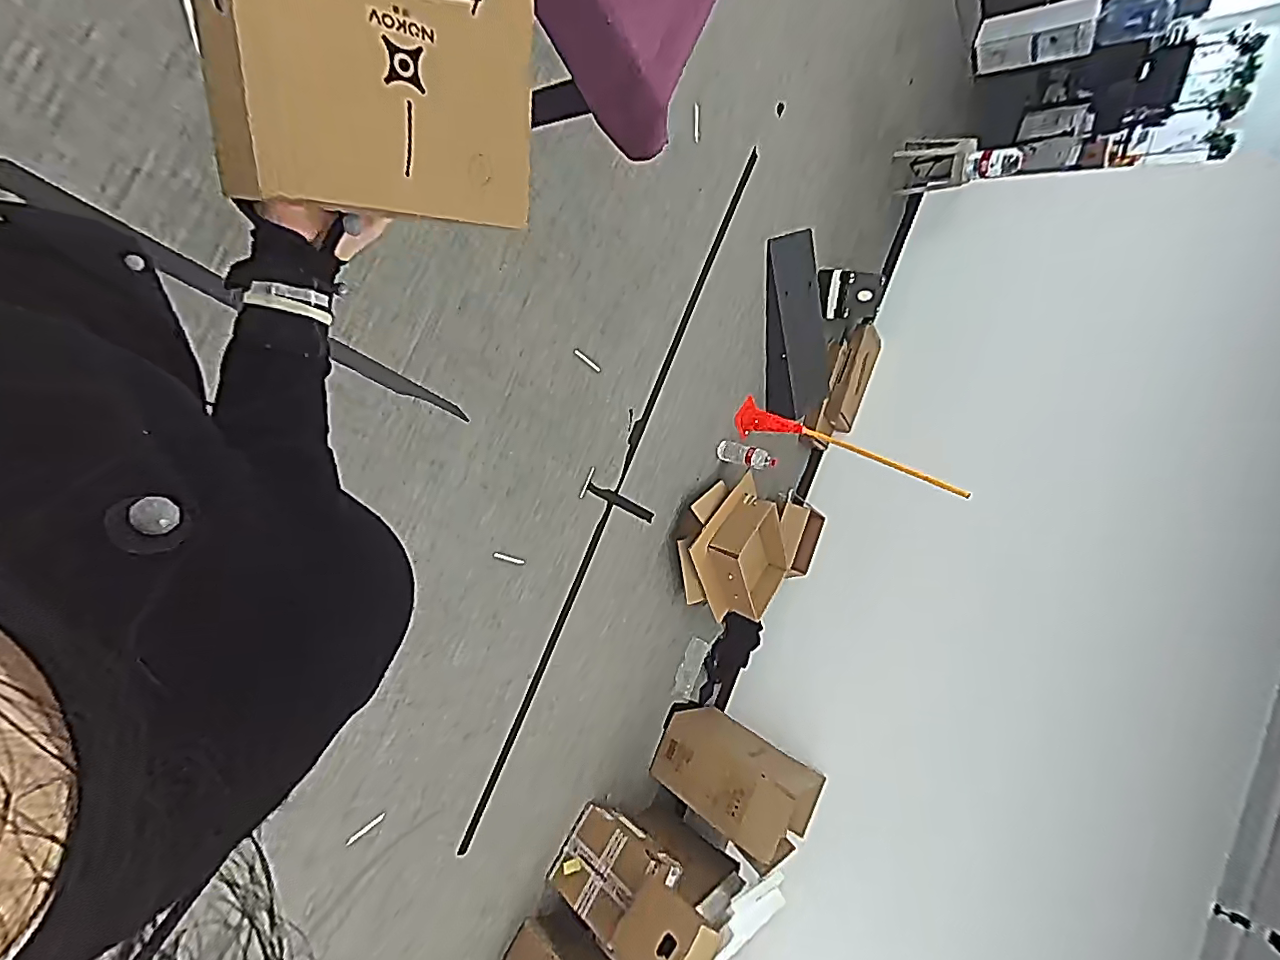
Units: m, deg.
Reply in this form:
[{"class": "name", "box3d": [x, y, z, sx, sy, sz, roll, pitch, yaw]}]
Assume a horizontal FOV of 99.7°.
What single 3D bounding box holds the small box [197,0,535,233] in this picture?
[{"class": "small box", "box3d": [-0.189, -0.279, 0.374, 0.168, 0.176, 0.179, -13, 120, -39]}]
